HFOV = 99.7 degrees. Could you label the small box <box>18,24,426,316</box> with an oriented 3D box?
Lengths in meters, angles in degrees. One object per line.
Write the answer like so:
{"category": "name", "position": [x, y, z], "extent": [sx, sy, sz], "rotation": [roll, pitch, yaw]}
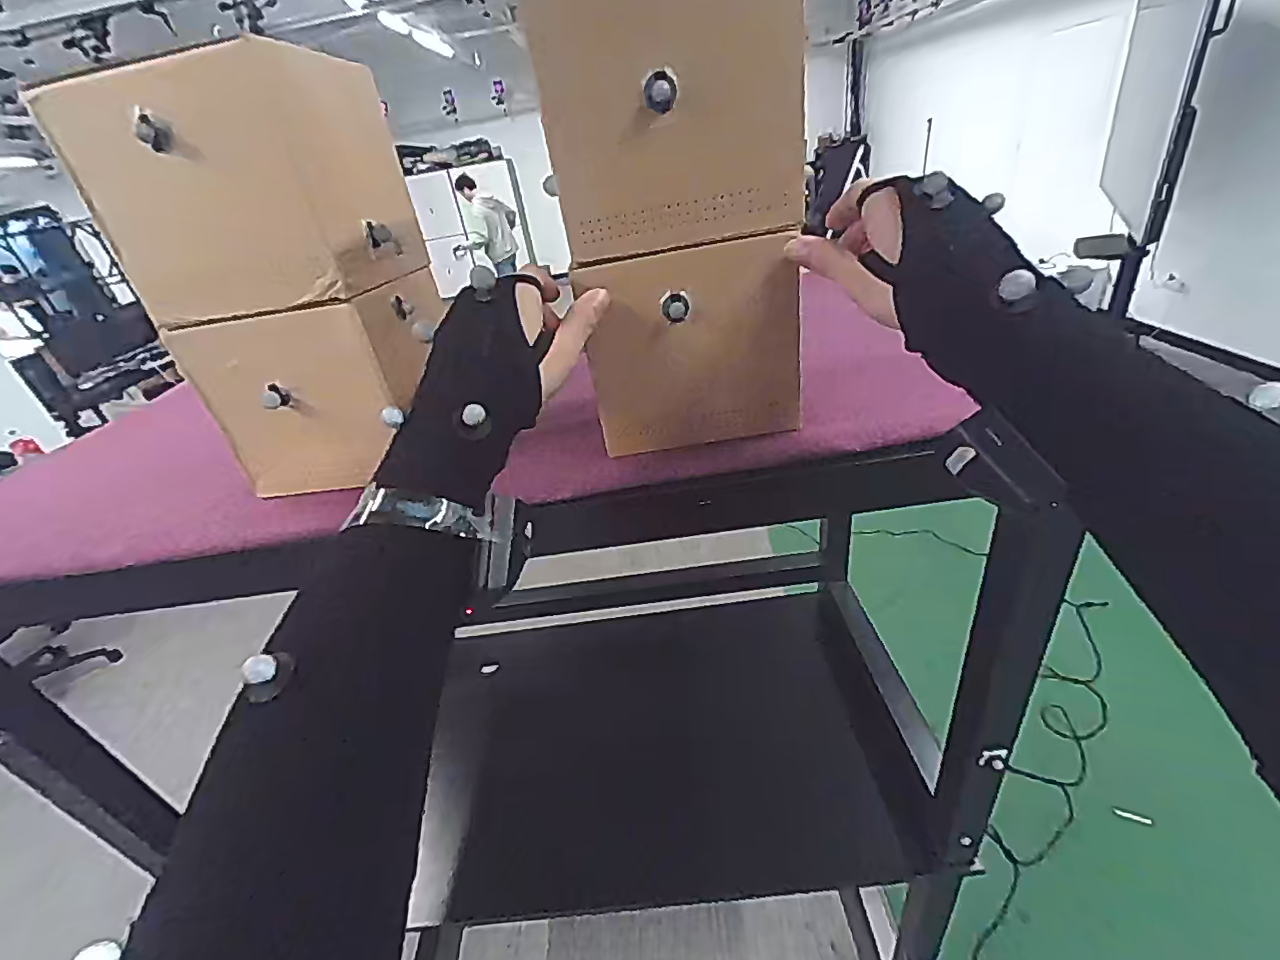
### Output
{"category": "small box", "position": [-0.317, -0.245, 0.457], "extent": [0.179, 0.176, 0.168], "rotation": [-5, 31, 8]}

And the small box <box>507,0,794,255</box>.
{"category": "small box", "position": [0.014, -0.286, 0.418], "extent": [0.179, 0.176, 0.168], "rotation": [-10, 31, 3]}

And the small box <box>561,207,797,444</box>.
{"category": "small box", "position": [0.039, -0.147, 0.502], "extent": [0.179, 0.176, 0.168], "rotation": [-9, 32, 4]}

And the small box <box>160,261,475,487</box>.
{"category": "small box", "position": [-0.293, -0.105, 0.539], "extent": [0.179, 0.176, 0.168], "rotation": [-7, 30, 7]}
